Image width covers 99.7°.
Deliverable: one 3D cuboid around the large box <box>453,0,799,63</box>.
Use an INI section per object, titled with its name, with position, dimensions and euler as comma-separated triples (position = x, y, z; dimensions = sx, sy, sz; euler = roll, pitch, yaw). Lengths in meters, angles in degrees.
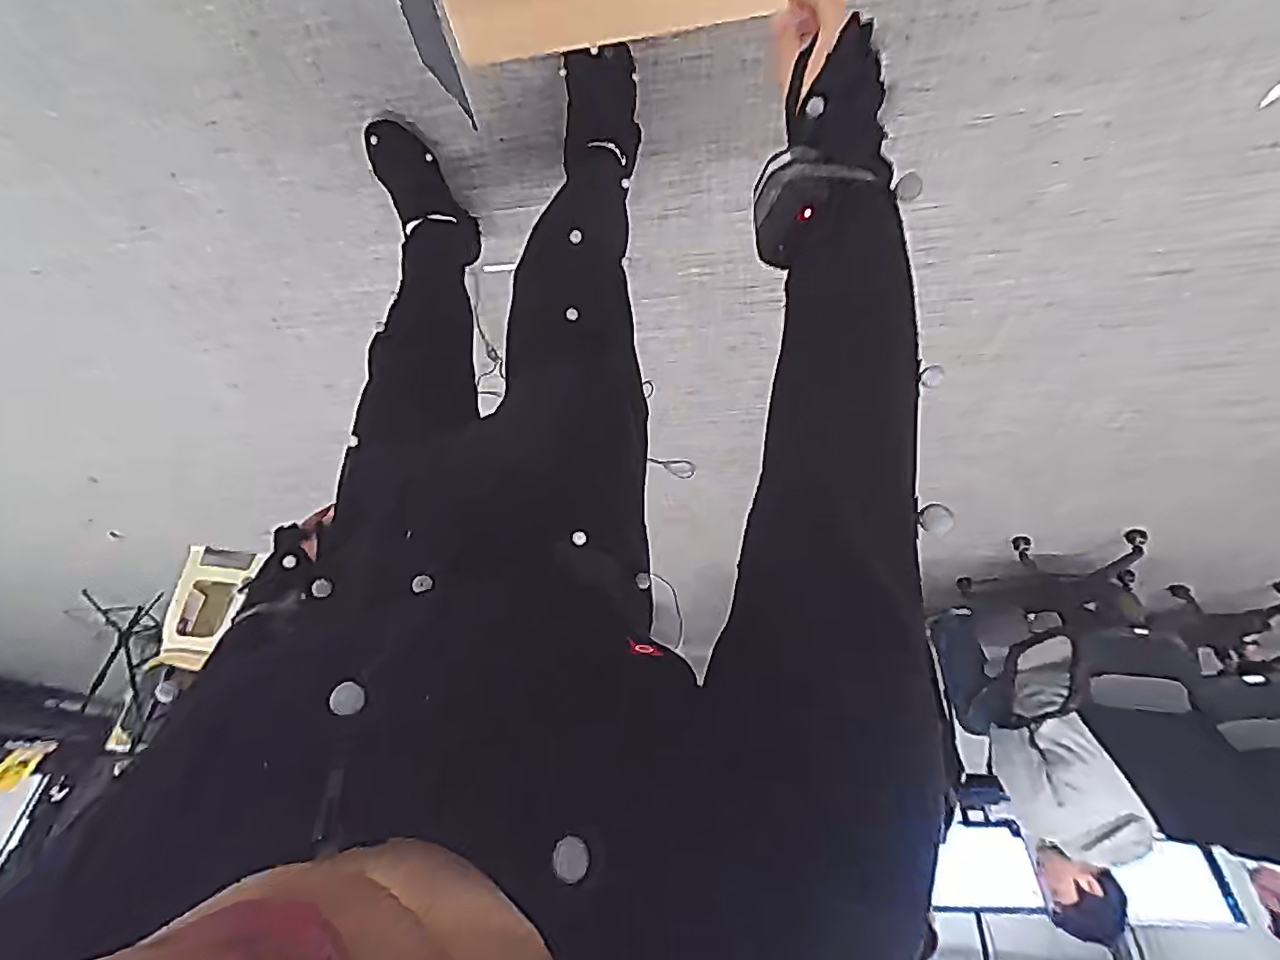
[large box]
position = -0.006, -0.670, 0.515
dimensions = 0.408, 0.320, 0.320
euler = -4, 146, 8
